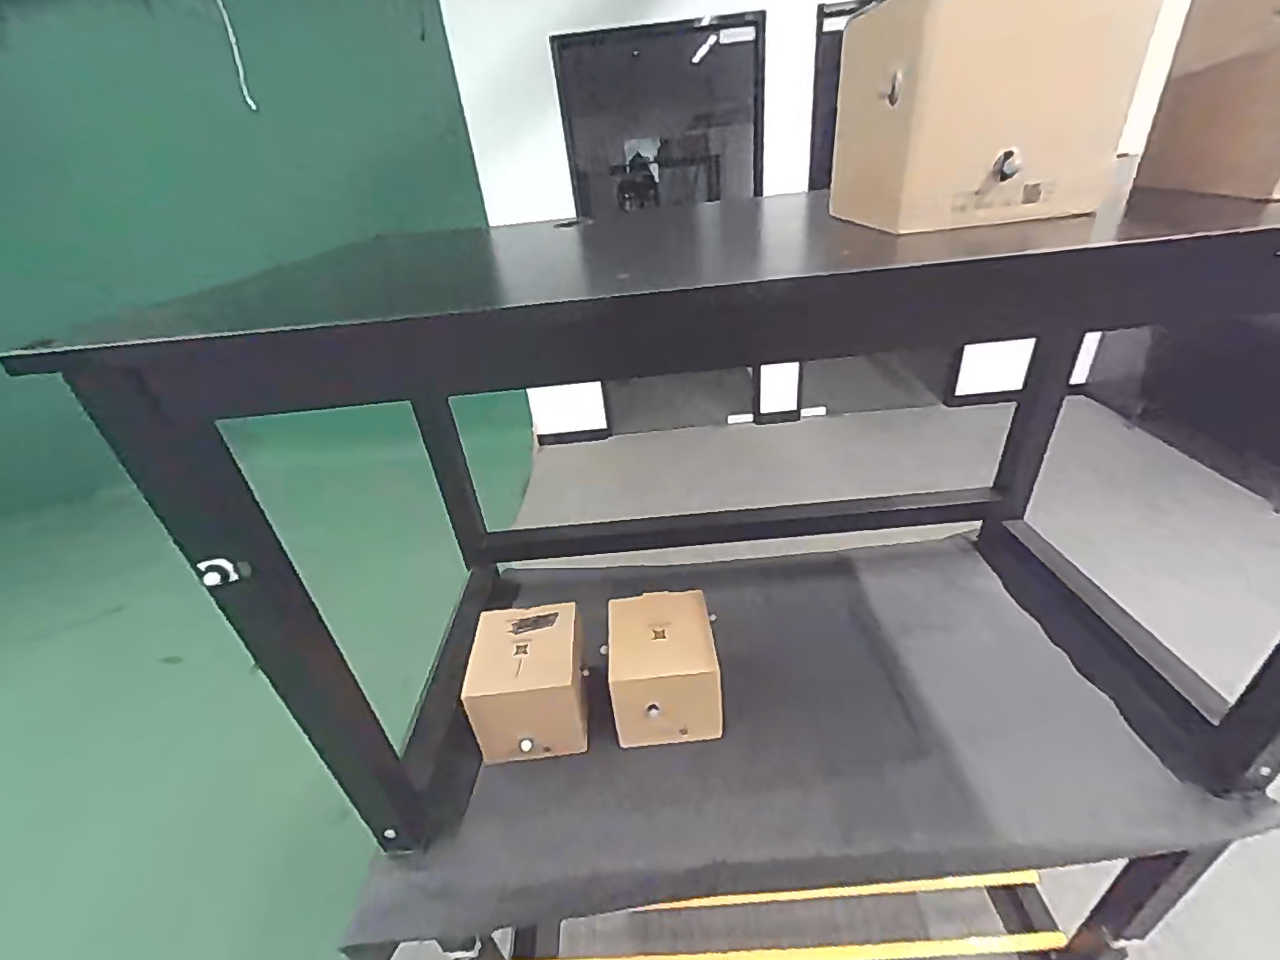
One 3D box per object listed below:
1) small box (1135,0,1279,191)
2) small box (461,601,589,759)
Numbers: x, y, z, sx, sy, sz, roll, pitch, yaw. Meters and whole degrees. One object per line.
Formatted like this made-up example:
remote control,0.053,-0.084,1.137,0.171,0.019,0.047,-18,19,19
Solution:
small box,0.548,-0.327,0.417,0.168,0.176,0.179,0,31,11
small box,-0.179,0.329,0.901,0.168,0.176,0.179,-7,31,0
